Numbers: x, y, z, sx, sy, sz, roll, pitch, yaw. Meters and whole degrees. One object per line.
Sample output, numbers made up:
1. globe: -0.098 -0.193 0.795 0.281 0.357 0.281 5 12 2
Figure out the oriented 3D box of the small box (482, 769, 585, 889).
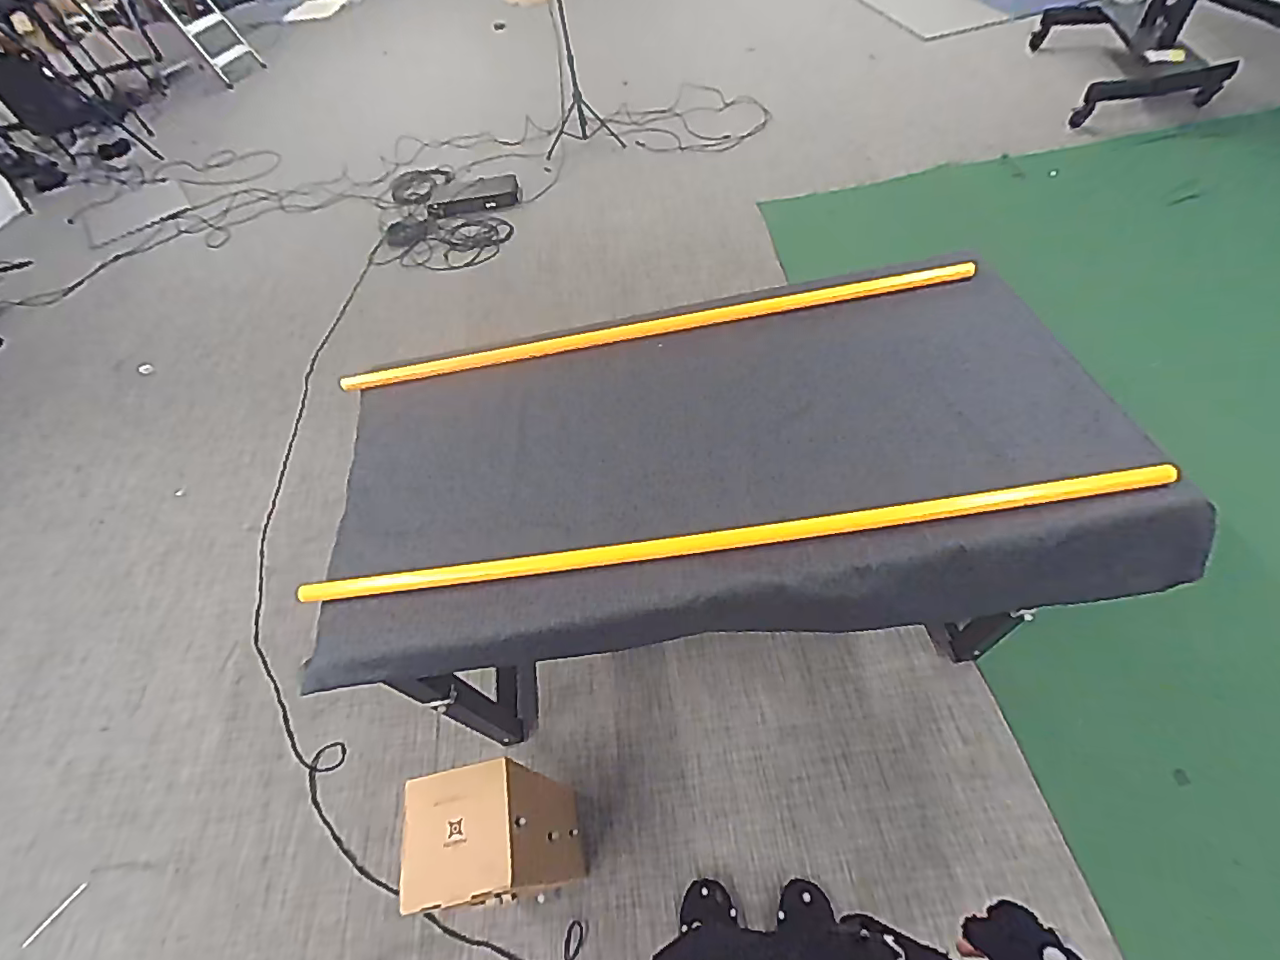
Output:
1. small box: -0.224 0.742 1.152 0.168 0.176 0.179 -16 56 -3
